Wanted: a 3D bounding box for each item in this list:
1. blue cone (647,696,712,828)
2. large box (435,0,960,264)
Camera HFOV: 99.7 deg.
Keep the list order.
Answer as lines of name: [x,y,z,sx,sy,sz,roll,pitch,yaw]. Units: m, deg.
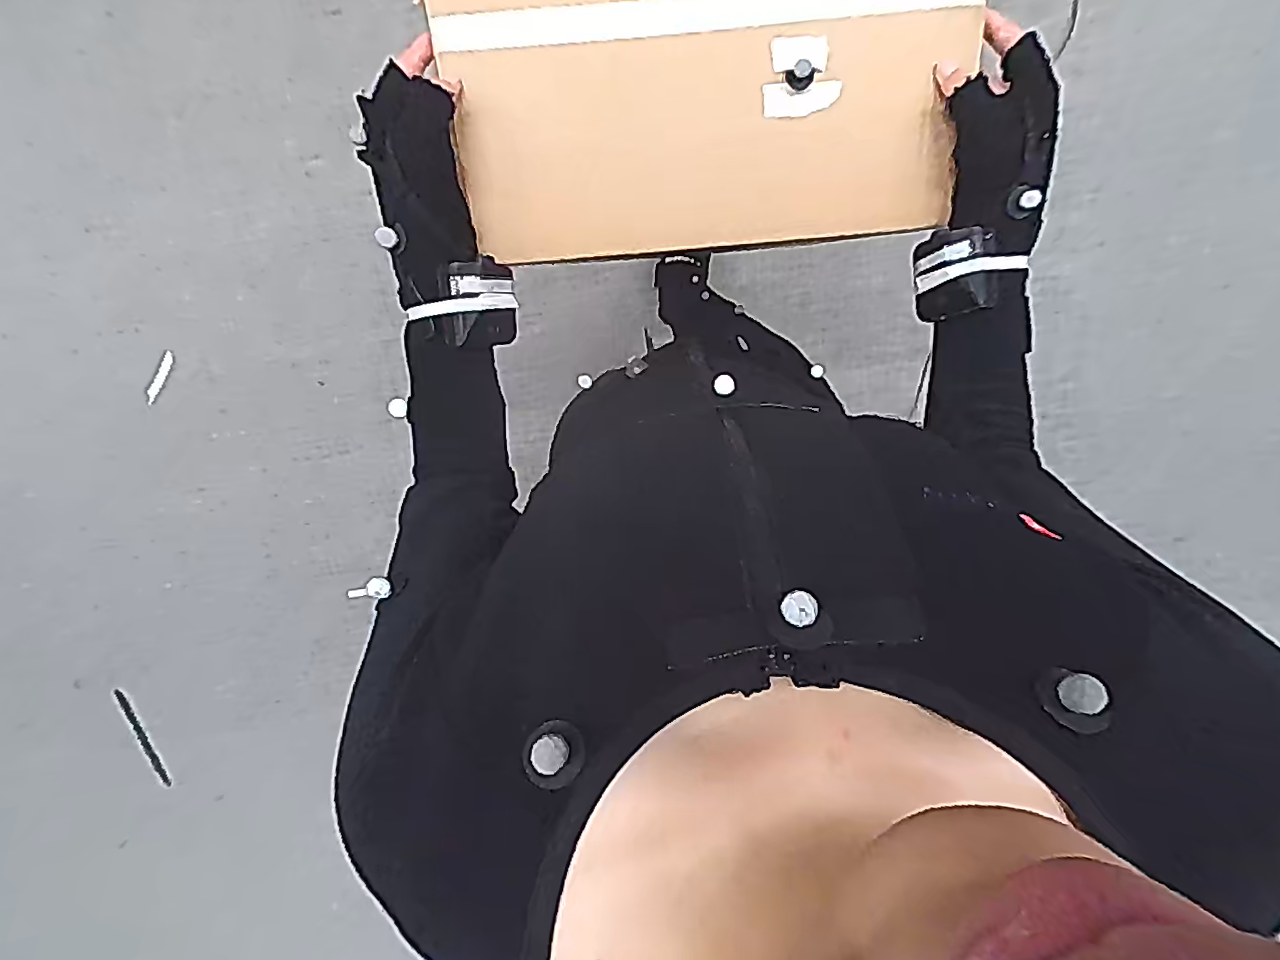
blue cone: [0.119,0.831,1.585,0.193,0.380,0.192,13,108,-2]
large box: [0.039,-0.407,0.547,0.408,0.320,0.320,-5,111,0]
